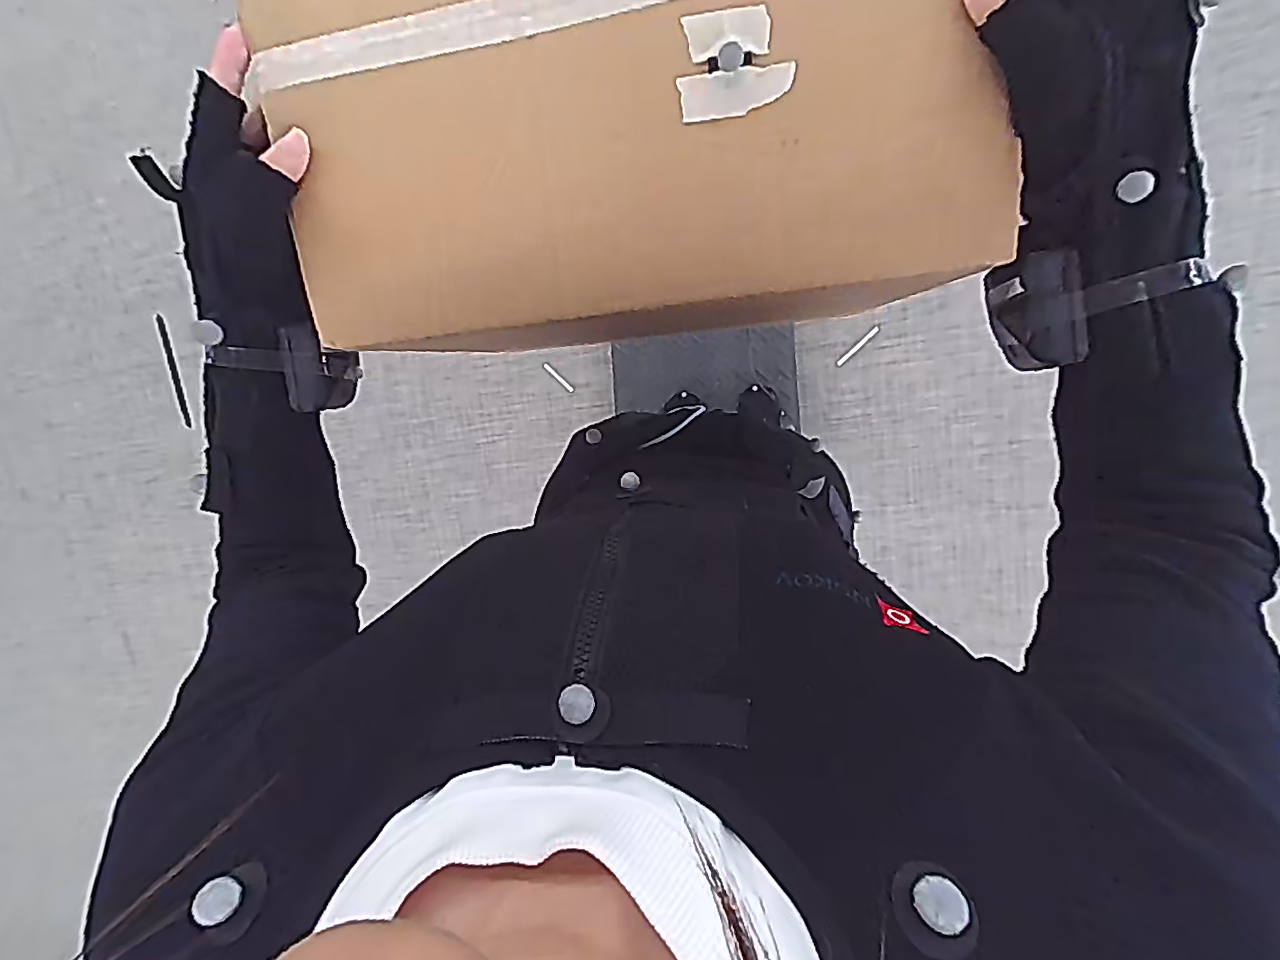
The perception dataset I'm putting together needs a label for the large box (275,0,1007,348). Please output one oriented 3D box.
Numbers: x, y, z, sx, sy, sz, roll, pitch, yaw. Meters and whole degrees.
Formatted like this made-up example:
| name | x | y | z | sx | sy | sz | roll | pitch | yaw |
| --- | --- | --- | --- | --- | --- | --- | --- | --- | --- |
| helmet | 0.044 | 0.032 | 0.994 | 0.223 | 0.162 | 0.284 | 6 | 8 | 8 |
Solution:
| name | x | y | z | sx | sy | sz | roll | pitch | yaw |
| --- | --- | --- | --- | --- | --- | --- | --- | --- | --- |
| large box | 0.003 | -0.290 | 0.437 | 0.408 | 0.320 | 0.320 | -5 | 103 | 9 |
